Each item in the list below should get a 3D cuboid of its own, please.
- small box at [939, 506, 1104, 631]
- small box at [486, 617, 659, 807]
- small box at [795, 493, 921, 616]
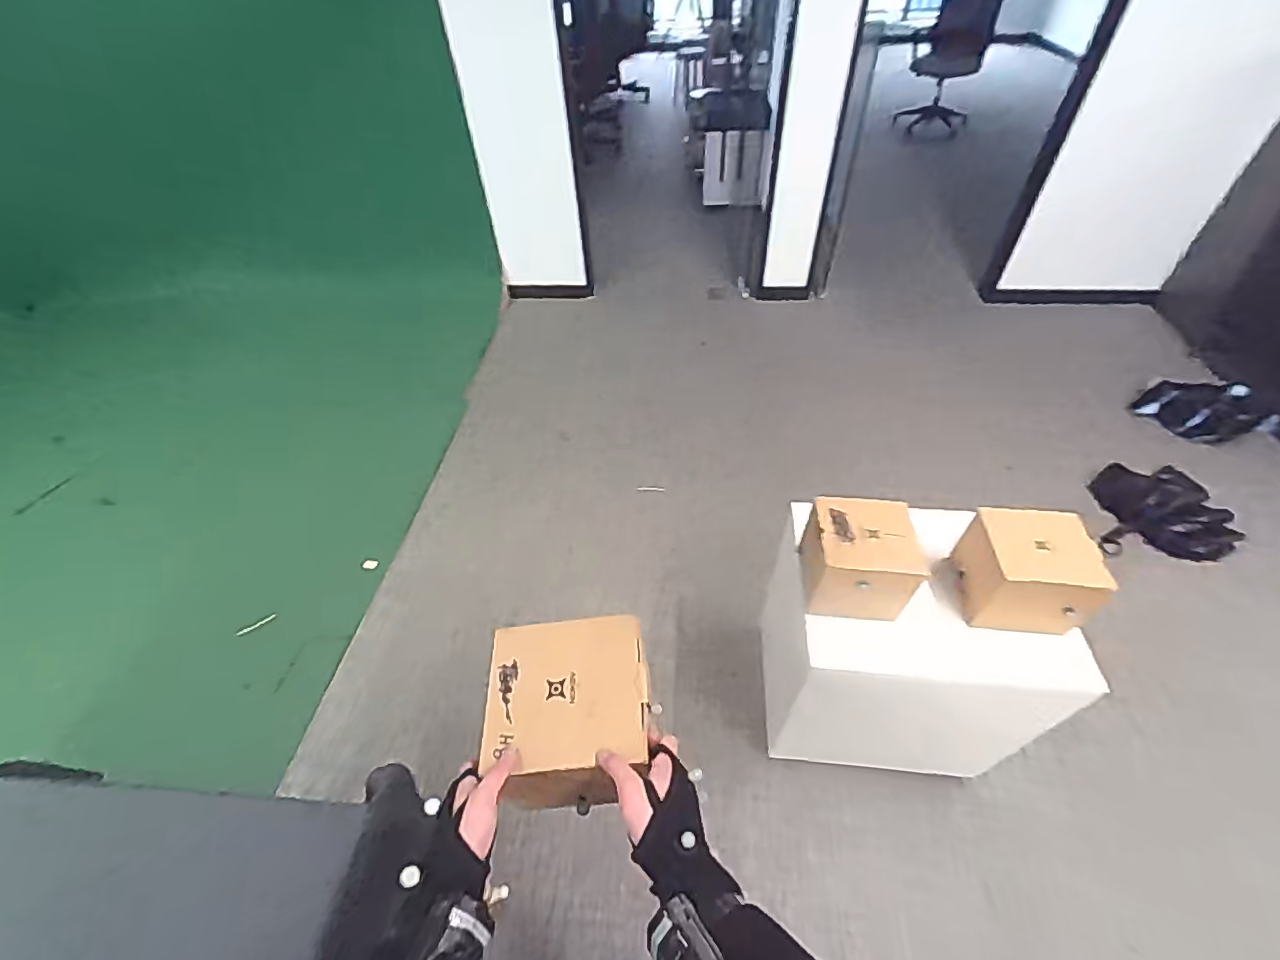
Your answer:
[{"bbox_3d":[0.703,0.170,1.021,0.179,0.176,0.168,4,48,6],"label":"small box"},{"bbox_3d":[-0.069,0.282,0.653,0.179,0.176,0.168,-5,49,0],"label":"small box"},{"bbox_3d":[0.404,0.146,1.042,0.179,0.176,0.168,5,49,3],"label":"small box"}]
